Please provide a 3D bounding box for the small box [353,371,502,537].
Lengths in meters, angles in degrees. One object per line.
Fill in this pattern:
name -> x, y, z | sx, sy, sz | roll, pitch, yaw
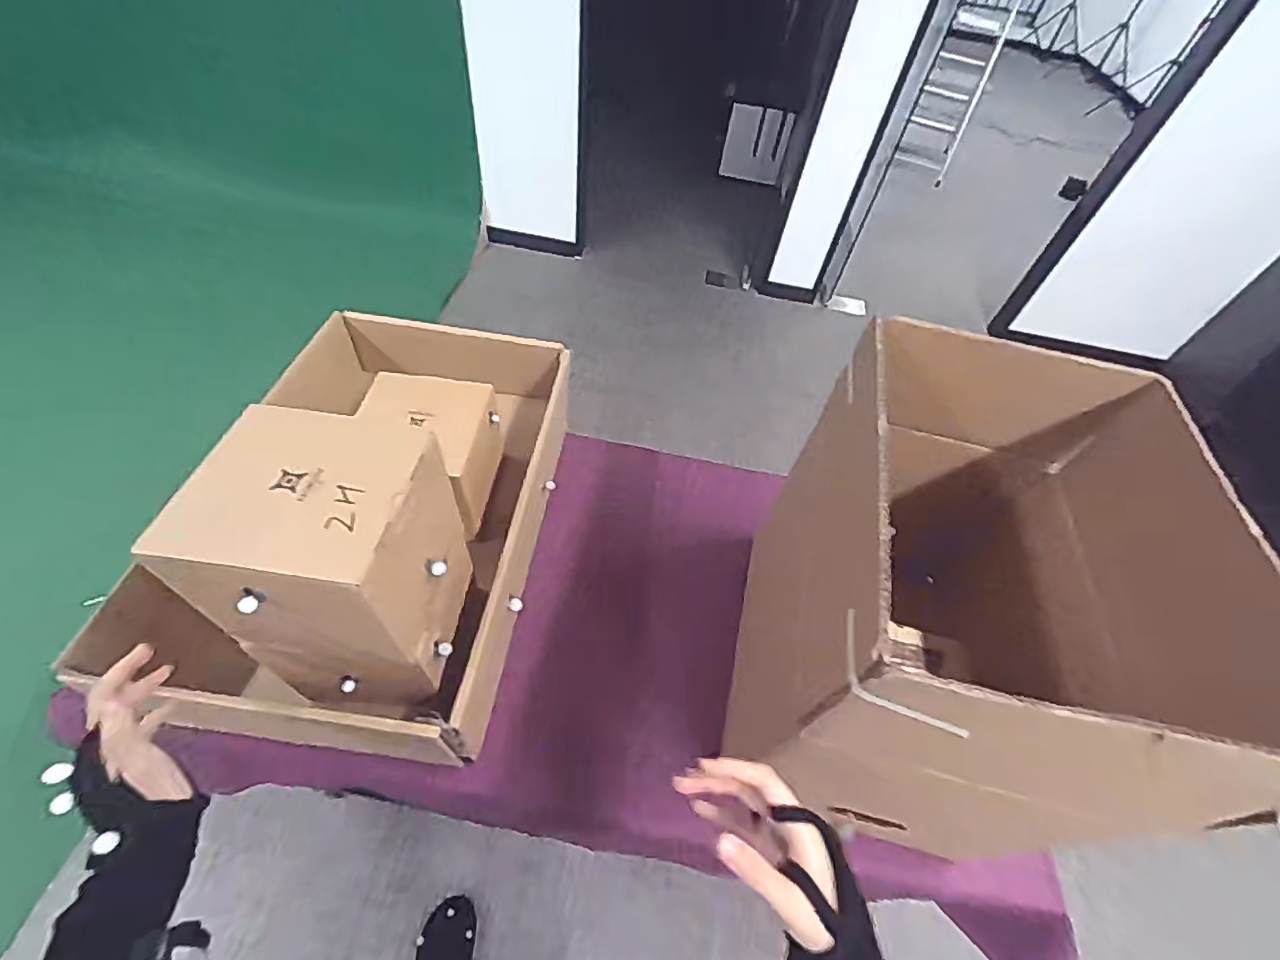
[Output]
small box -> -0.309, -0.033, 0.796 | 0.168, 0.176, 0.179 | 6, 52, -1

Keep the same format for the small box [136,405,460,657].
small box -> -0.294, 0.054, 0.518 | 0.179, 0.176, 0.168 | 9, 52, 0
